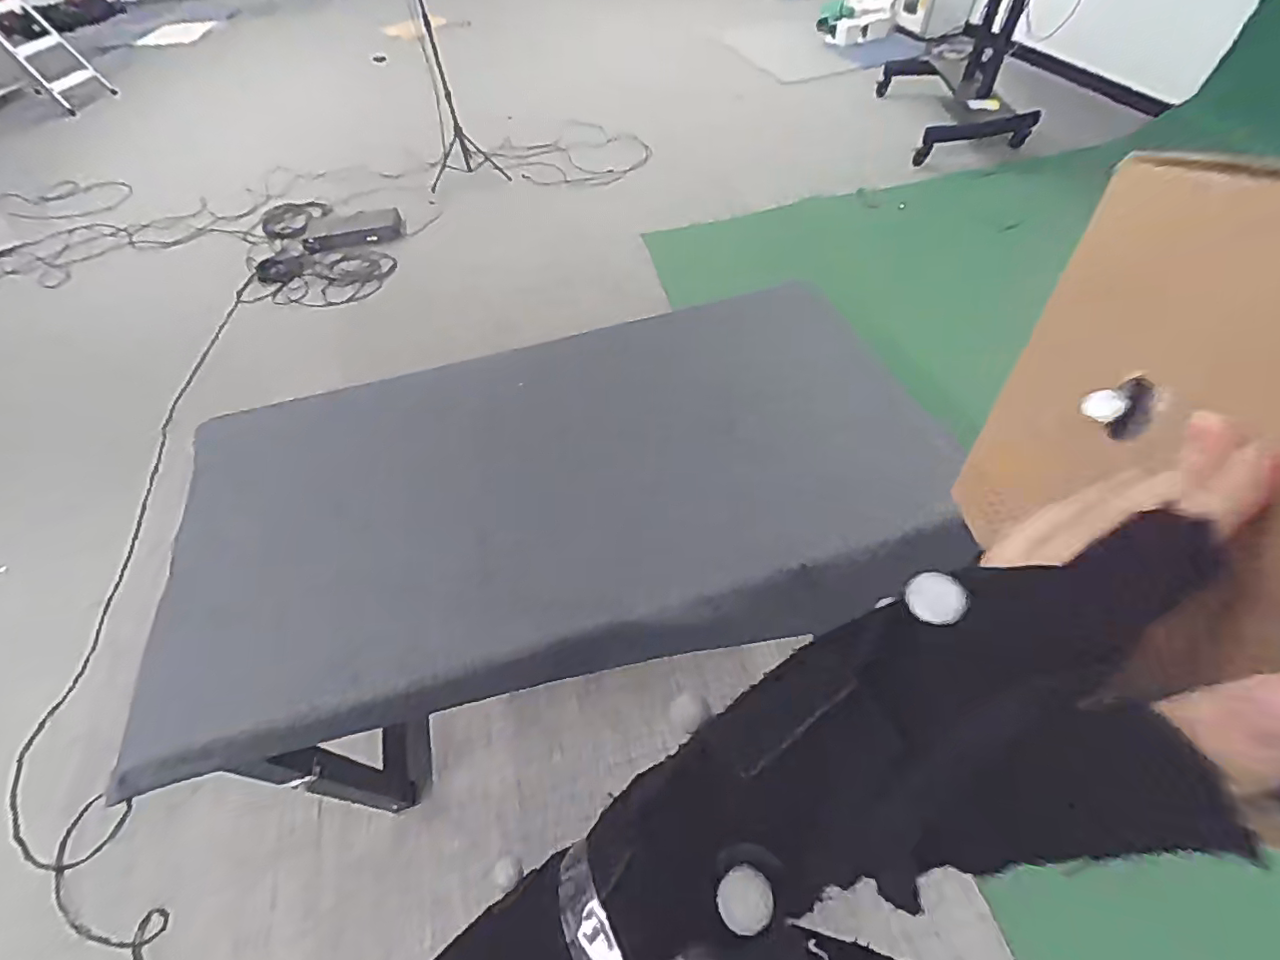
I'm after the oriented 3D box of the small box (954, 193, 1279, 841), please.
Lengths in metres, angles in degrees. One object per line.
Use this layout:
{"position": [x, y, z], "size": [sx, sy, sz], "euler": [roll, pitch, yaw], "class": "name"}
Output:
{"position": [0.249, 0.012, 0.188], "size": [0.168, 0.176, 0.179], "euler": [10, 33, 4], "class": "small box"}
